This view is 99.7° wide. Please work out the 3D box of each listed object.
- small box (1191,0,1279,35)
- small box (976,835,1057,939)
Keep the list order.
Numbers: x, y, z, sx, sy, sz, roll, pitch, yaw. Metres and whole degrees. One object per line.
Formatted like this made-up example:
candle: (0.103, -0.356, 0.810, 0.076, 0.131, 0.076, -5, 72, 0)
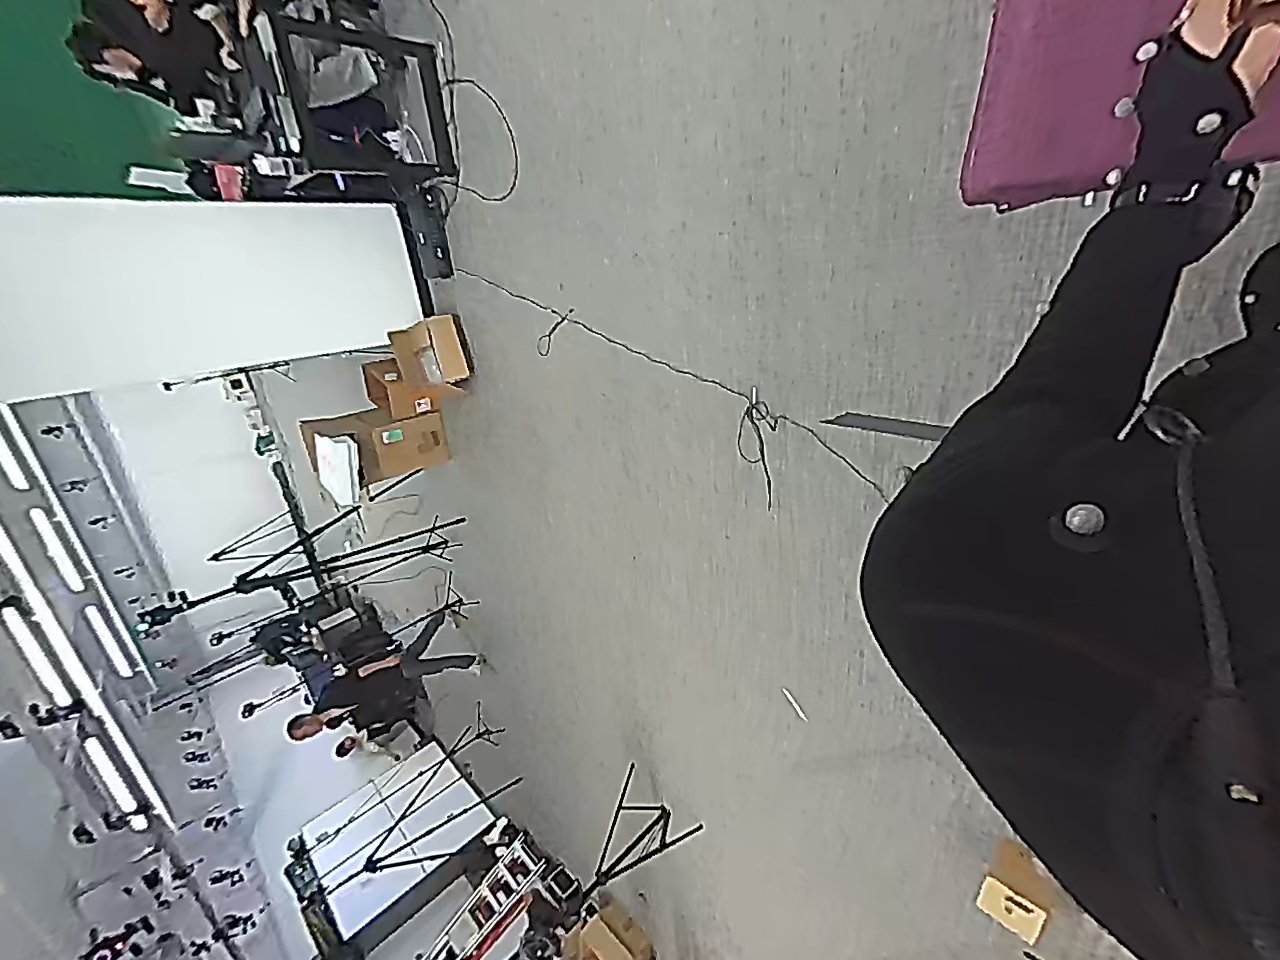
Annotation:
small box: (0.541, -0.451, 0.383, 0.168, 0.179, 0.176, 4, 118, 30)
small box: (1.230, 1.319, 1.765, 0.168, 0.176, 0.179, 22, 125, 42)
